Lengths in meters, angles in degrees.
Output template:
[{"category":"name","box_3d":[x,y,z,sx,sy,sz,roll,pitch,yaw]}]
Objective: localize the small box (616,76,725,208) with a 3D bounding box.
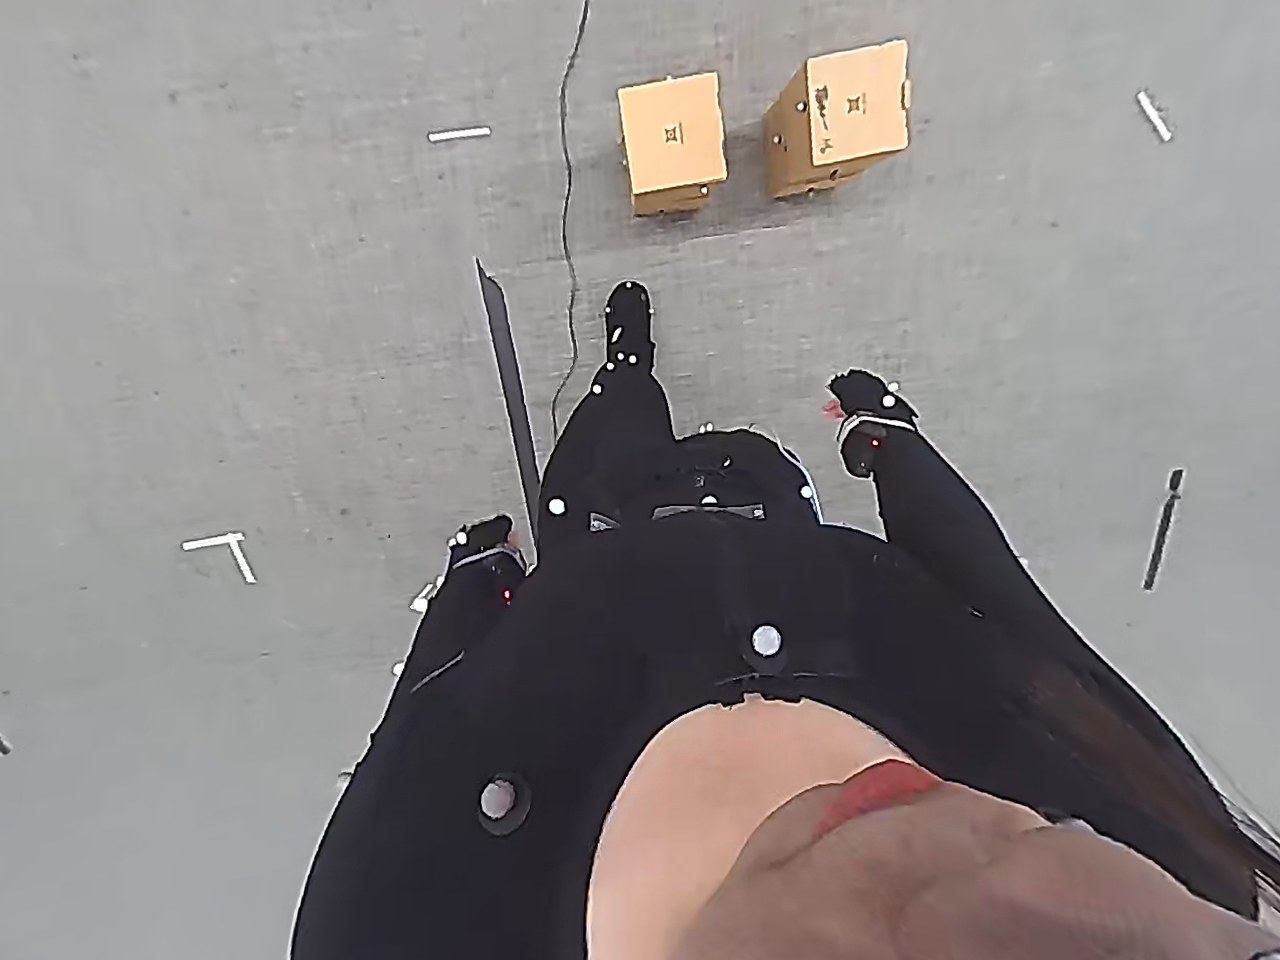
[{"category":"small box","box_3d":[0.055,-0.630,1.029,0.179,0.176,0.168,-10,110,1]}]

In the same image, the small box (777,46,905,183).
[{"category":"small box","box_3d":[0.374,-0.679,1.023,0.179,0.176,0.168,-10,110,0]}]

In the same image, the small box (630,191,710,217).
[{"category":"small box","box_3d":[0.056,-0.686,1.182,0.168,0.176,0.179,-6,111,0]}]

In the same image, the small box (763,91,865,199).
[{"category":"small box","box_3d":[0.373,-0.734,1.178,0.168,0.176,0.179,-10,110,1]}]
